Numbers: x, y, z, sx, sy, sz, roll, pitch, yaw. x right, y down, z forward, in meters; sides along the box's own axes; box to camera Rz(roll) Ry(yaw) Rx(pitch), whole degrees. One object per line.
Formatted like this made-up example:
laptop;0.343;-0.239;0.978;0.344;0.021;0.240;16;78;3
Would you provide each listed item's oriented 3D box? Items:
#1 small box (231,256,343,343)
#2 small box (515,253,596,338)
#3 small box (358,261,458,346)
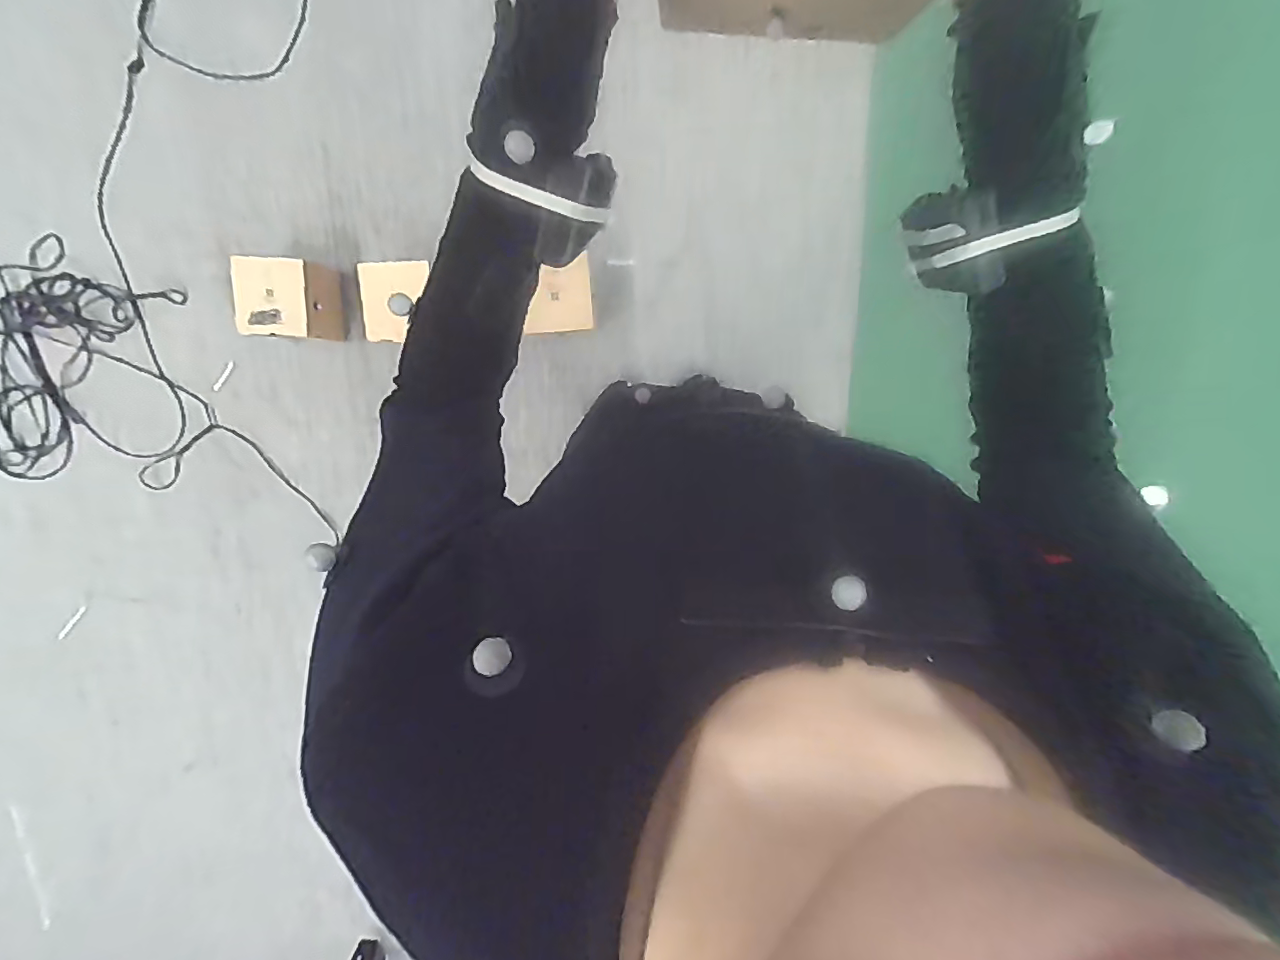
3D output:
small box;-0.848;-0.431;1.316;0.168;0.176;0.179;3;100;-1
small box;-0.198;-0.441;1.317;0.168;0.176;0.179;-4;101;0
small box;-0.557;-0.424;1.320;0.168;0.176;0.179;-2;101;0
